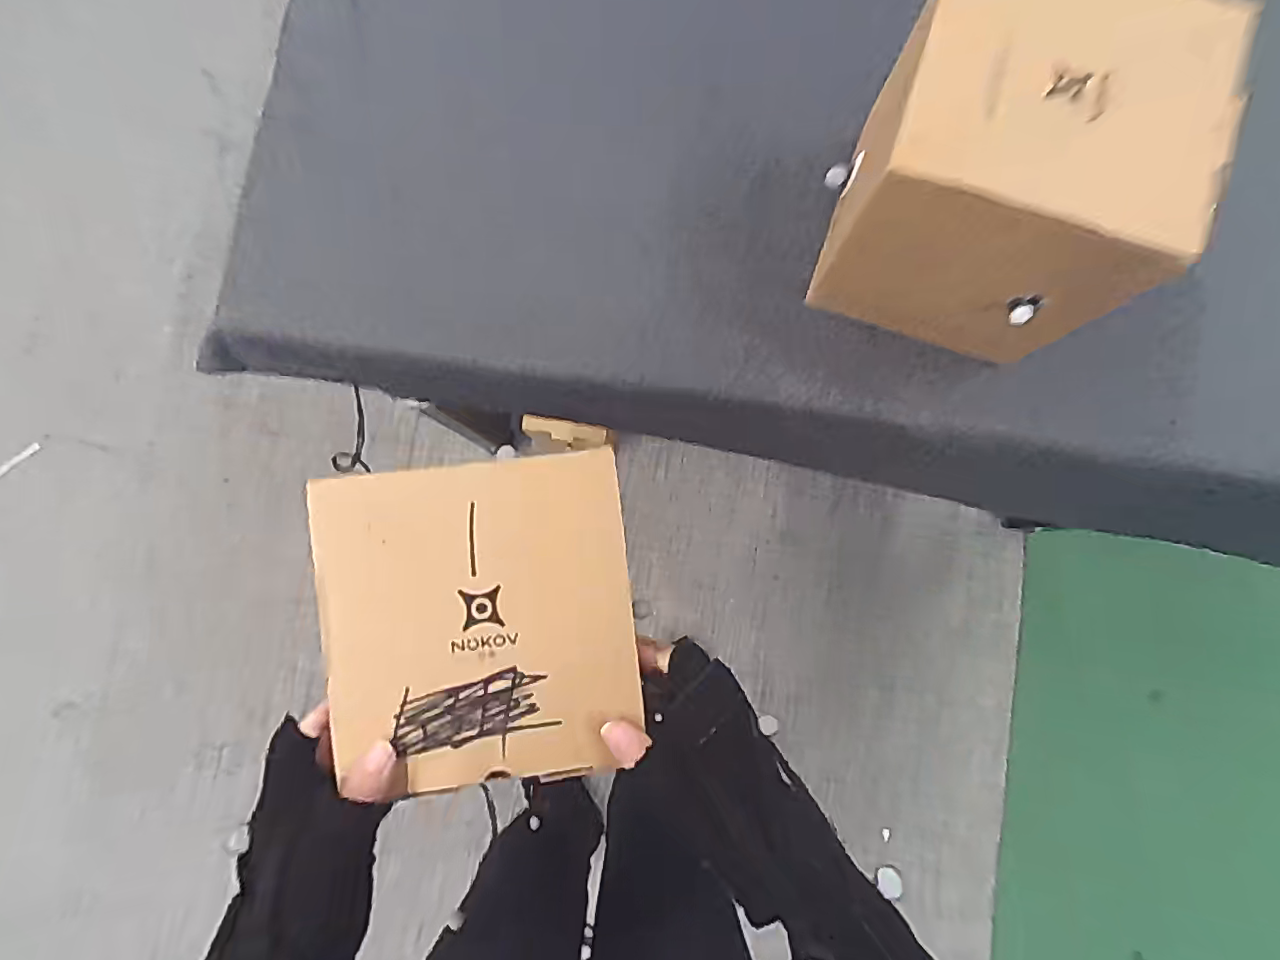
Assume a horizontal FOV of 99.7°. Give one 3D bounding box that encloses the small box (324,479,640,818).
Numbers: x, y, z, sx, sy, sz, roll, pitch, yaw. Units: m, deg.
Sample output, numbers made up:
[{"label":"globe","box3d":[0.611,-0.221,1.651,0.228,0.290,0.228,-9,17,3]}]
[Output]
[{"label":"small box","box3d":[-0.092,0.095,0.382,0.168,0.176,0.179,-6,87,-5]}]
